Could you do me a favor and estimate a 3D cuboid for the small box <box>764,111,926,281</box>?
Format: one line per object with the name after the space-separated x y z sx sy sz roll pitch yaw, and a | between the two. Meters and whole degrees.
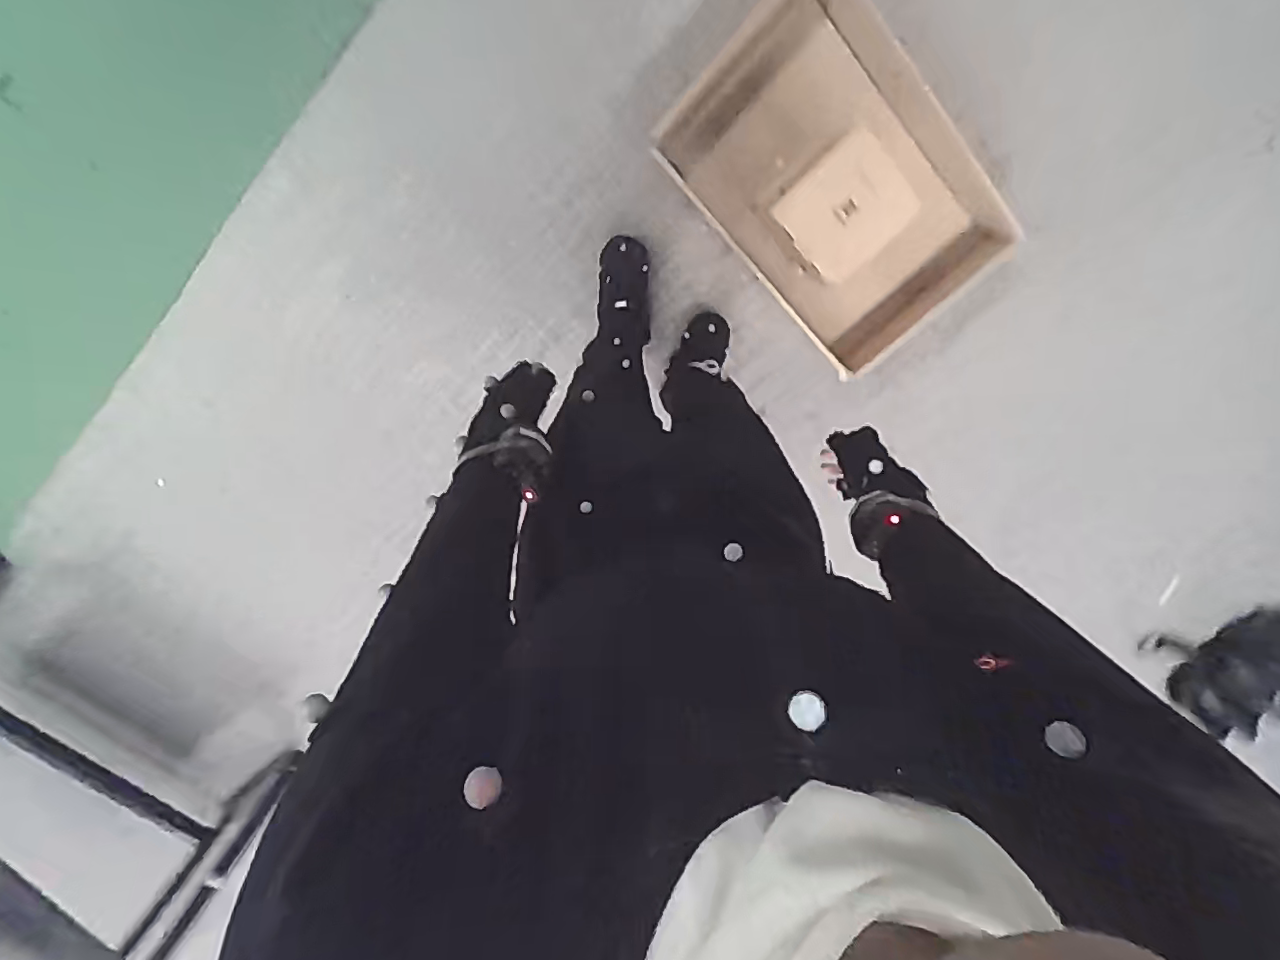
0.324 -0.461 0.898 0.168 0.176 0.179 40 113 -15 | small box
